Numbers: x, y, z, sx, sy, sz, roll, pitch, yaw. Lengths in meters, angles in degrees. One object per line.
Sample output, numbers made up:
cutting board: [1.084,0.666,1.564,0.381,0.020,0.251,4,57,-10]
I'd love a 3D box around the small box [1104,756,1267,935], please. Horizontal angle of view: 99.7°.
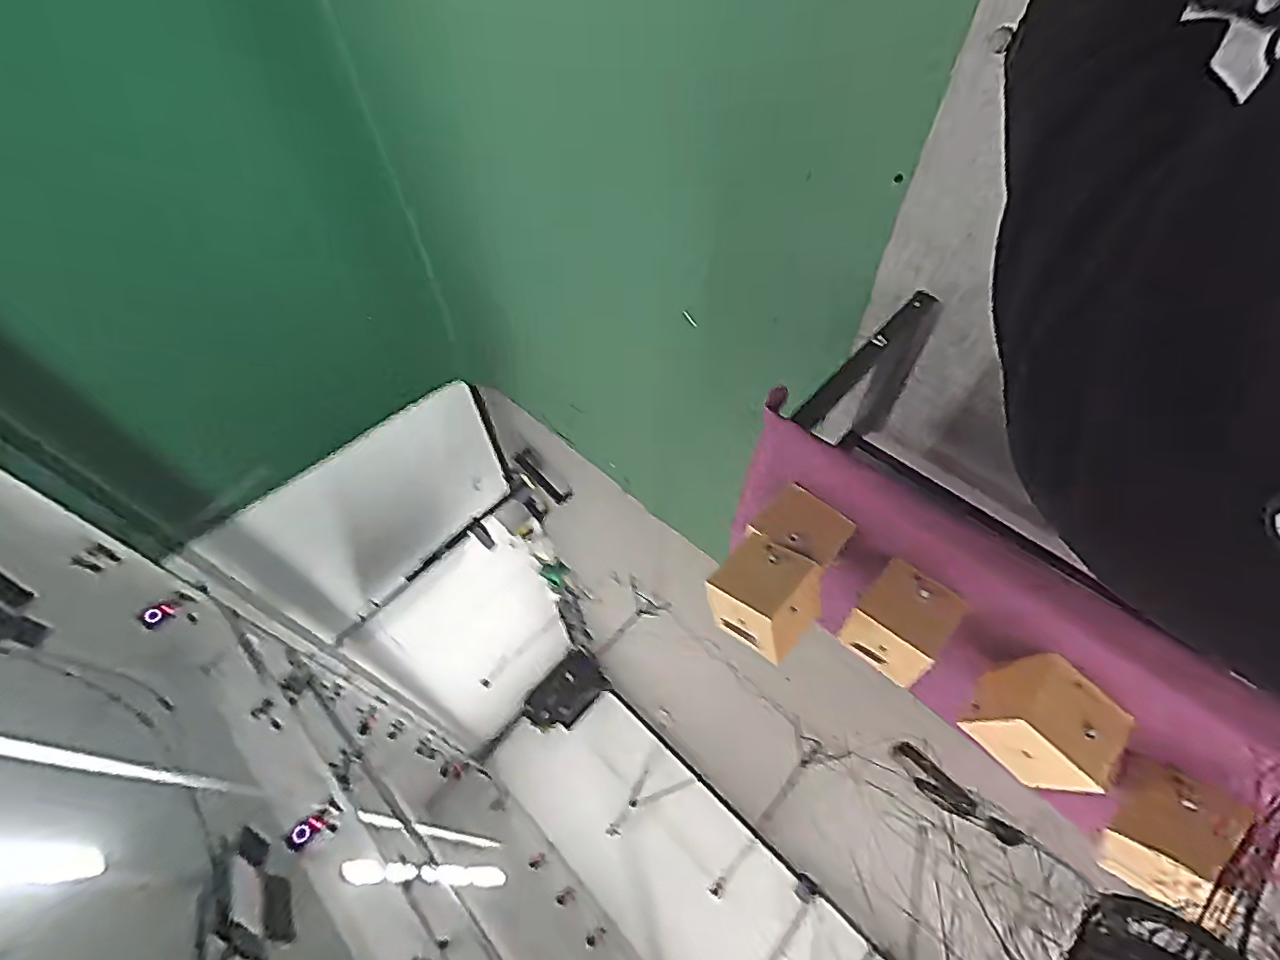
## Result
small box: [0.968,0.643,0.965,0.168,0.176,0.179,19,141,47]

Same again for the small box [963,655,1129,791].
small box: [0.772,0.455,1.028,0.168,0.176,0.179,42,155,13]

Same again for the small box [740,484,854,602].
small box: [0.360,0.141,1.245,0.179,0.176,0.168,37,154,23]

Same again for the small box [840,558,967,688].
small box: [0.559,0.302,1.152,0.168,0.176,0.179,34,151,28]
